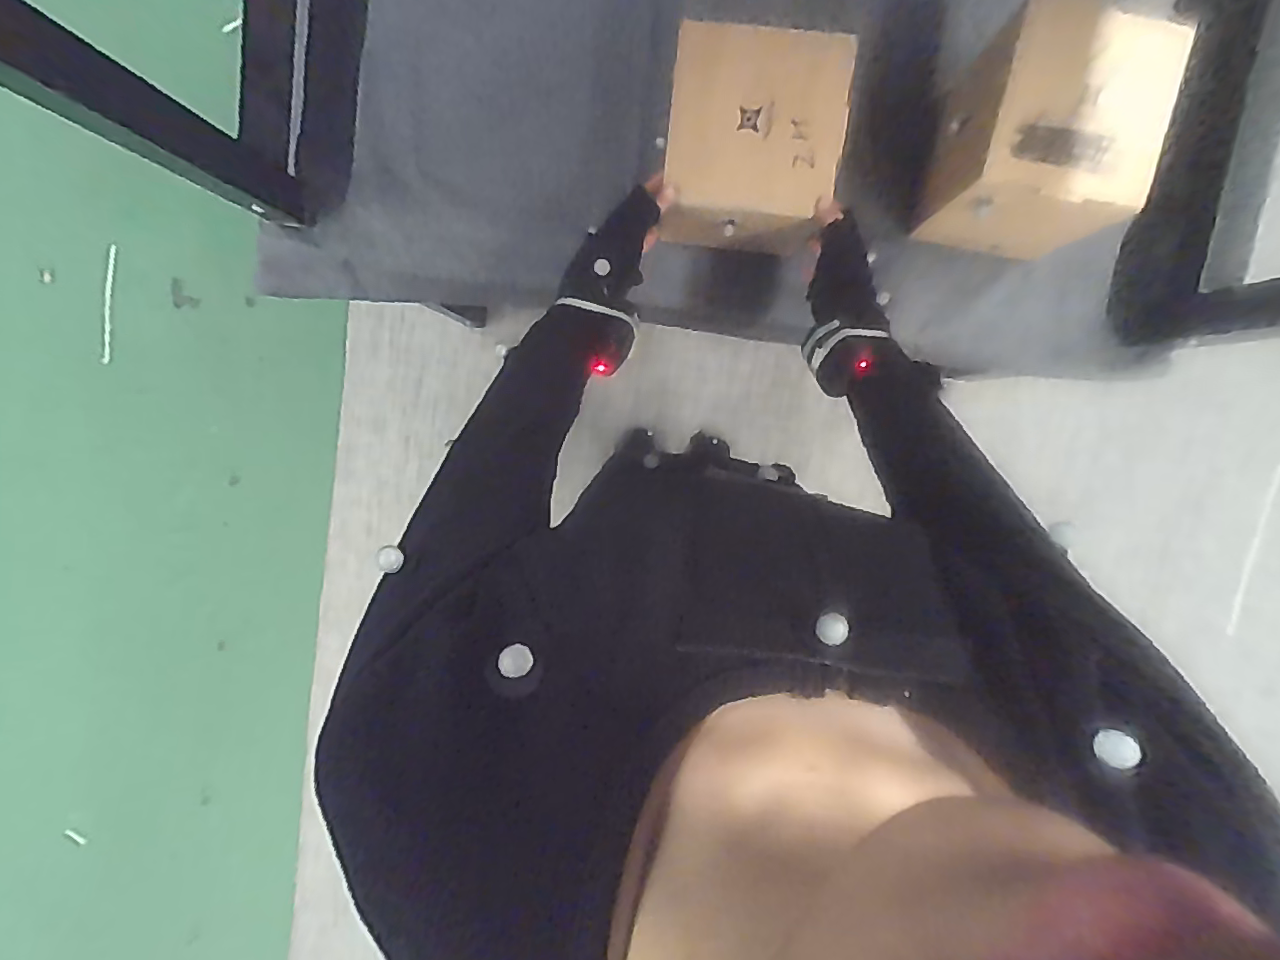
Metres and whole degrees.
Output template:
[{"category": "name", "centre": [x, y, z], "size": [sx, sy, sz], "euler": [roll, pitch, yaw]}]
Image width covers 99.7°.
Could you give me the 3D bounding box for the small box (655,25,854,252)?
[{"category": "small box", "centre": [0.116, -0.370, 0.618], "size": [0.179, 0.176, 0.168], "euler": [7, 102, 1]}]
